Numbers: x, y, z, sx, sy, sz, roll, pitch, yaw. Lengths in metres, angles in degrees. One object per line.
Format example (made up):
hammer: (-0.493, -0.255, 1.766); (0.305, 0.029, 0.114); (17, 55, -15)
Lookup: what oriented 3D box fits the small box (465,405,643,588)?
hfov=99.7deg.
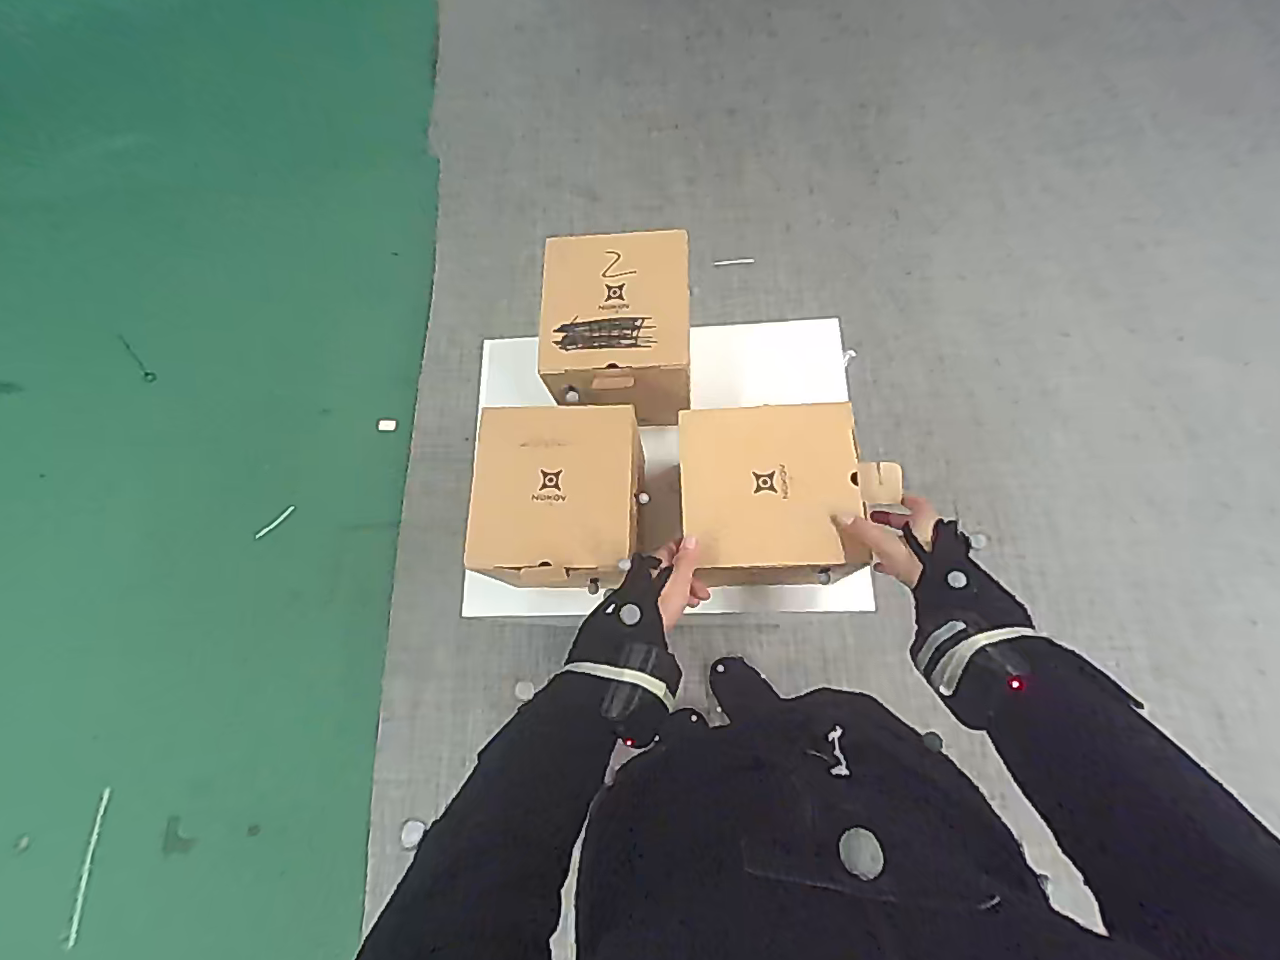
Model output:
small box: (-0.084, 0.029, 0.624); (0.168, 0.176, 0.179); (-1, 71, 4)
